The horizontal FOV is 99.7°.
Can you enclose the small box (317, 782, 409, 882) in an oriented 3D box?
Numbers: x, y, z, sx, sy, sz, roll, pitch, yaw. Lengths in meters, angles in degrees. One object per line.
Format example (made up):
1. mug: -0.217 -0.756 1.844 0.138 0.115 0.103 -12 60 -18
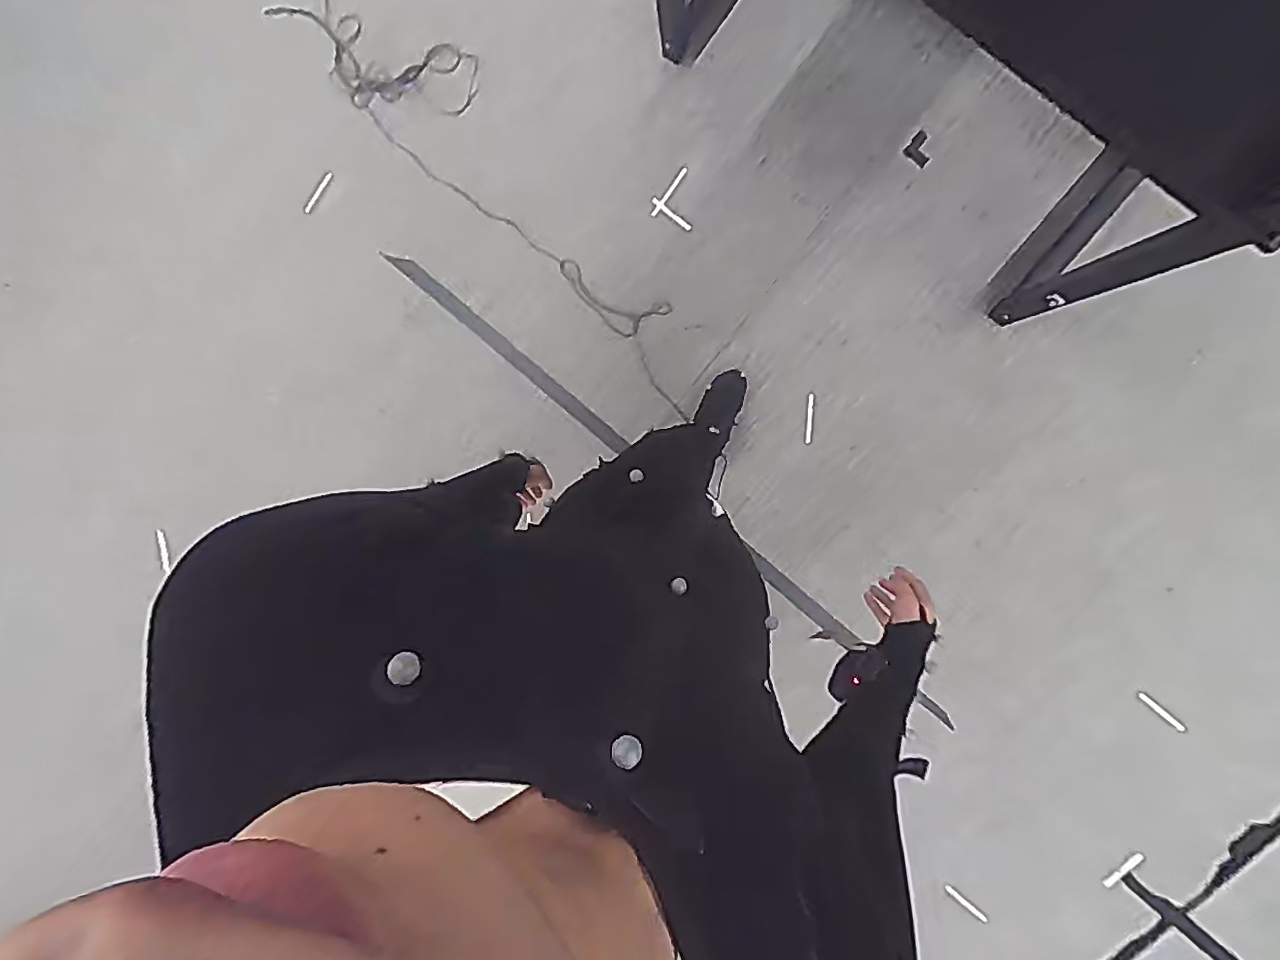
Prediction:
1. small box: -0.901 1.150 1.776 0.168 0.176 0.179 43 100 1
